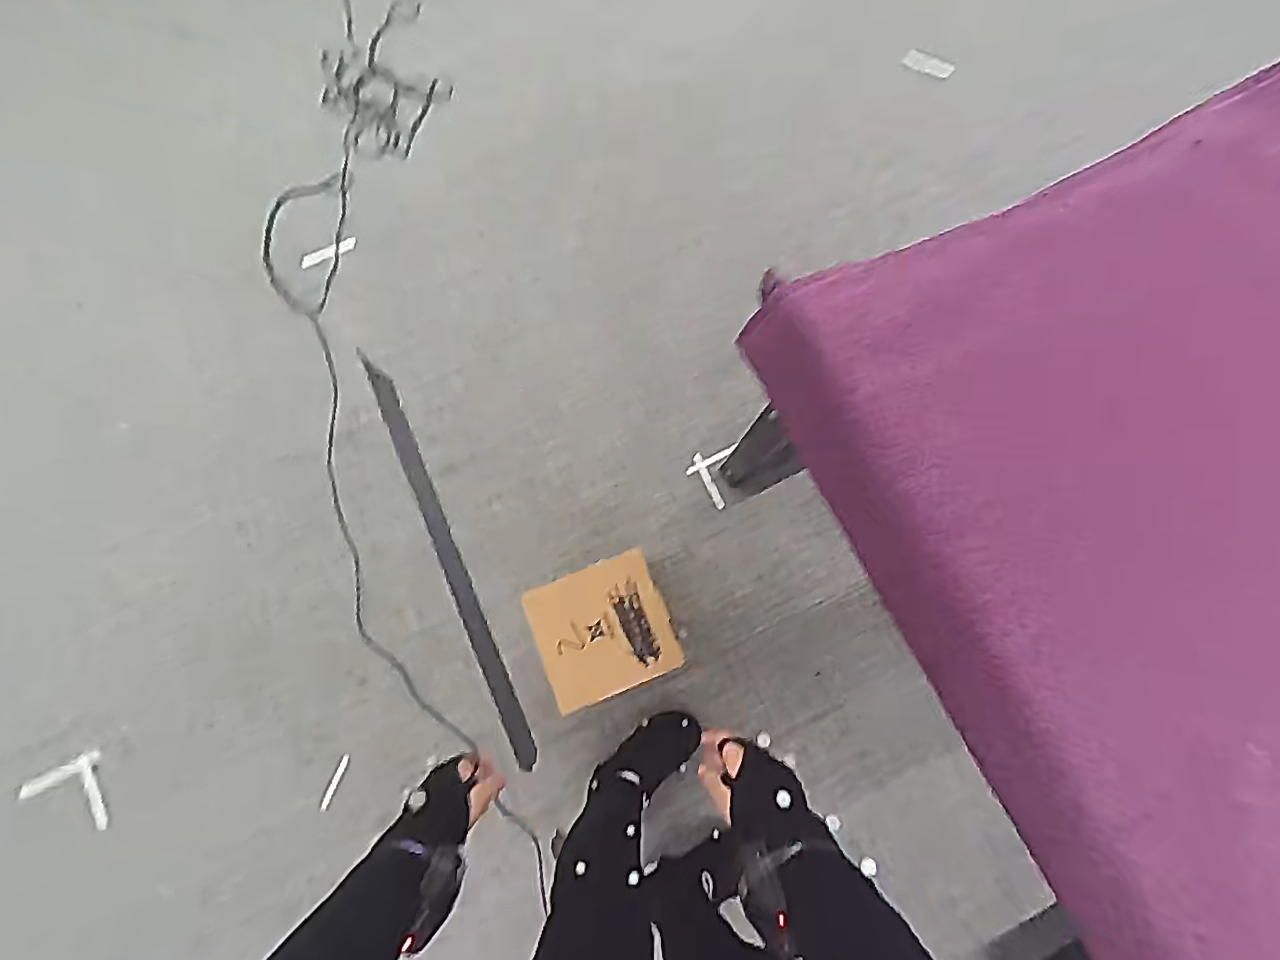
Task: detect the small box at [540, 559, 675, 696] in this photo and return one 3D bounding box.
[{"bbox_3d":[-0.054,0.248,0.951,0.179,0.176,0.168,-25,81,-4],"label":"small box"}]
